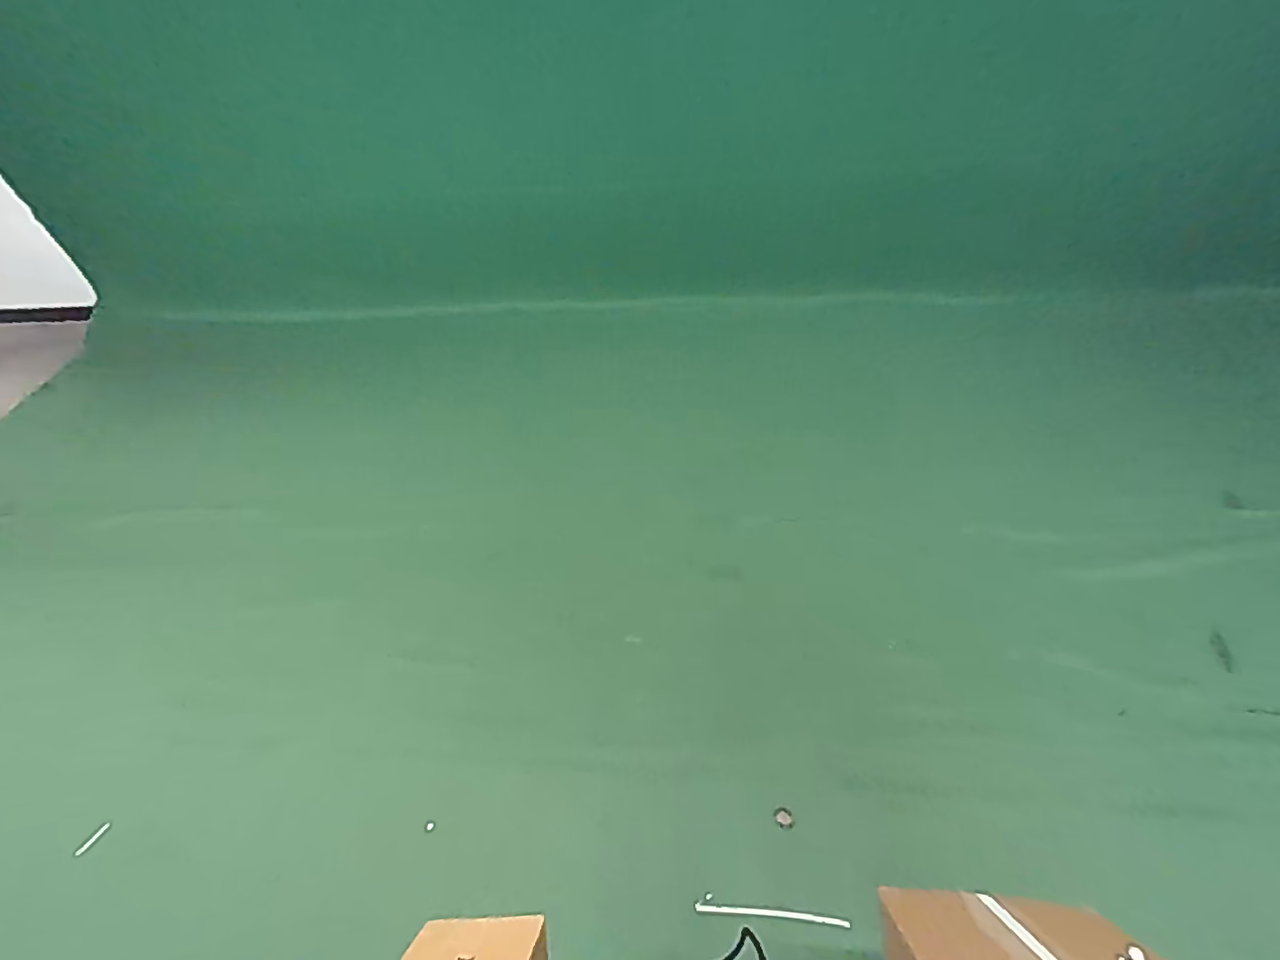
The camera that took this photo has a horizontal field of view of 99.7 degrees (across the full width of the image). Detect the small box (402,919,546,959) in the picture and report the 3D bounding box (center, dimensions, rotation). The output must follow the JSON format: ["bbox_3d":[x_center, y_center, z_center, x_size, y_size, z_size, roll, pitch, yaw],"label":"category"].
[{"bbox_3d":[-0.210,0.668,0.638,0.168,0.179,0.176,-5,83,3],"label":"small box"}]
